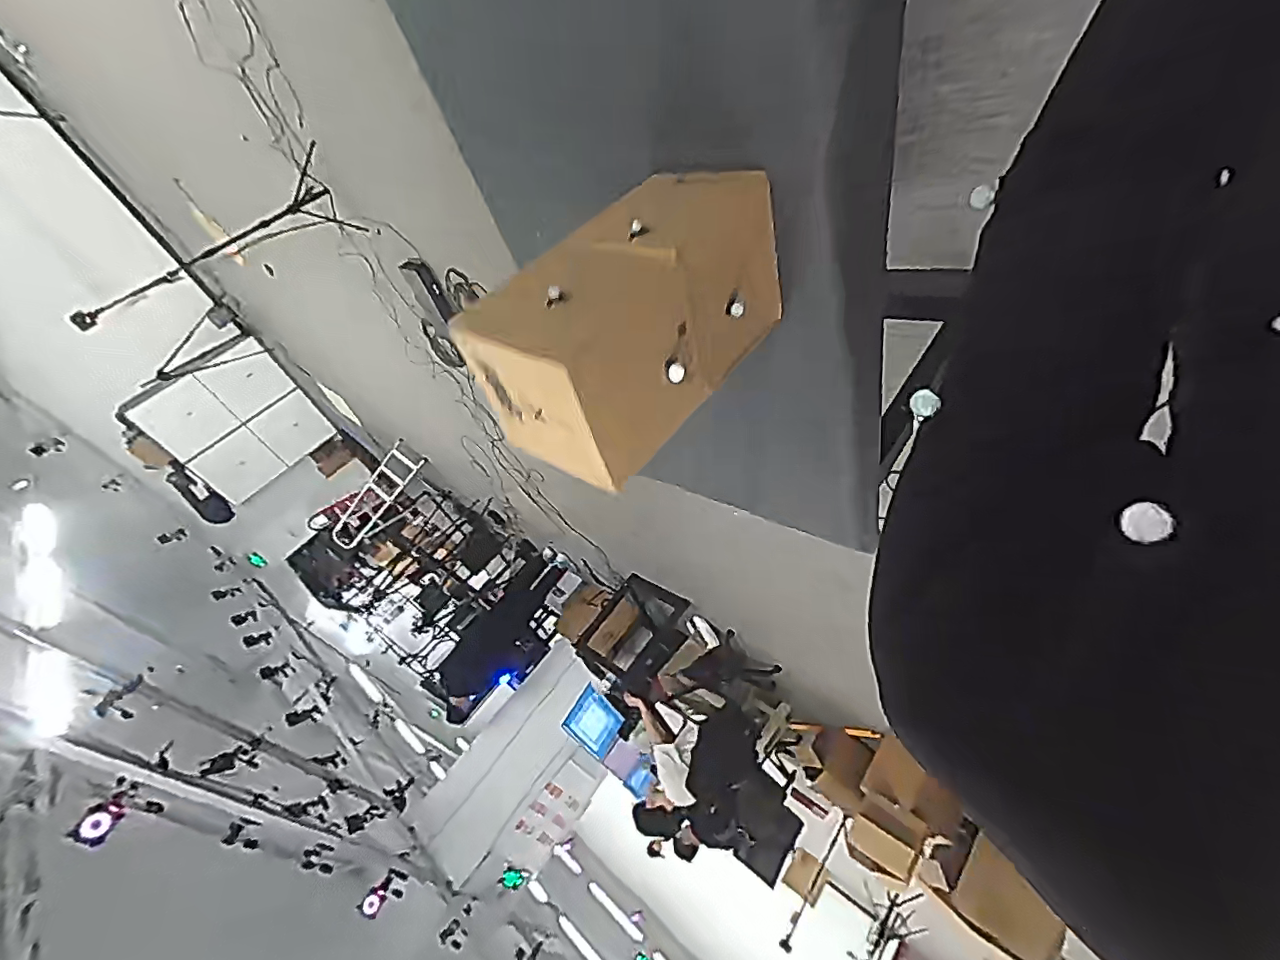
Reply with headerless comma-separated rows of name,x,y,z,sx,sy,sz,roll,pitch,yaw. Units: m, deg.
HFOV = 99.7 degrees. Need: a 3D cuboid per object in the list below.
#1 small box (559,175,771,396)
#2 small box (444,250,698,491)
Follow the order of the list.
small box,0.041,-0.233,0.642,0.168,0.176,0.179,23,149,36
small box,-0.063,-0.124,0.576,0.179,0.176,0.168,25,150,33
